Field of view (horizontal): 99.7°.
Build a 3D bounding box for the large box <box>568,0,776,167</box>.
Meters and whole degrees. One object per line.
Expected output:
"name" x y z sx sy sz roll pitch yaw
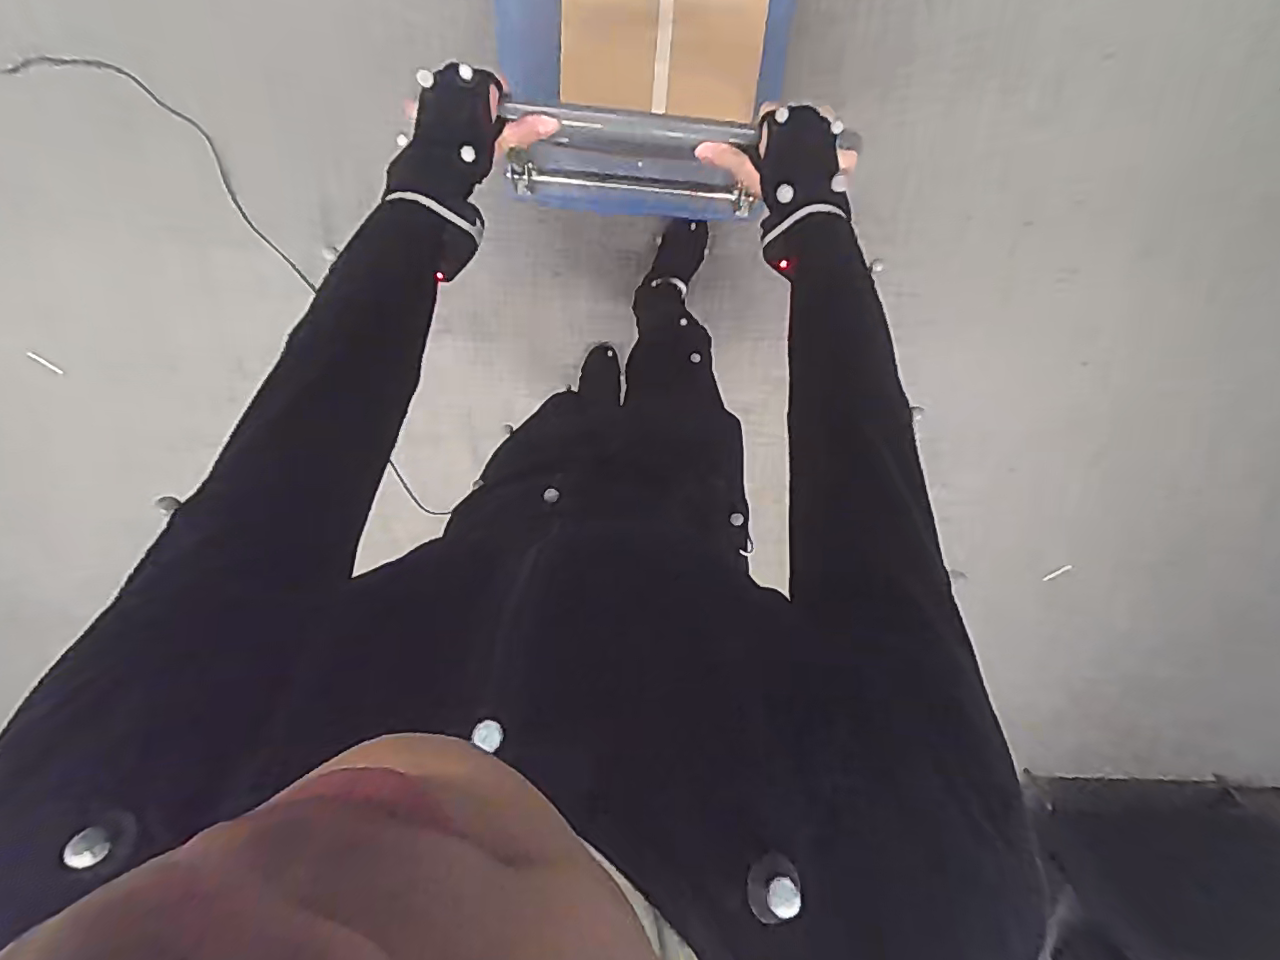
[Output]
"large box" 0.053 -0.795 0.933 0.320 0.320 0.408 4 114 -3
